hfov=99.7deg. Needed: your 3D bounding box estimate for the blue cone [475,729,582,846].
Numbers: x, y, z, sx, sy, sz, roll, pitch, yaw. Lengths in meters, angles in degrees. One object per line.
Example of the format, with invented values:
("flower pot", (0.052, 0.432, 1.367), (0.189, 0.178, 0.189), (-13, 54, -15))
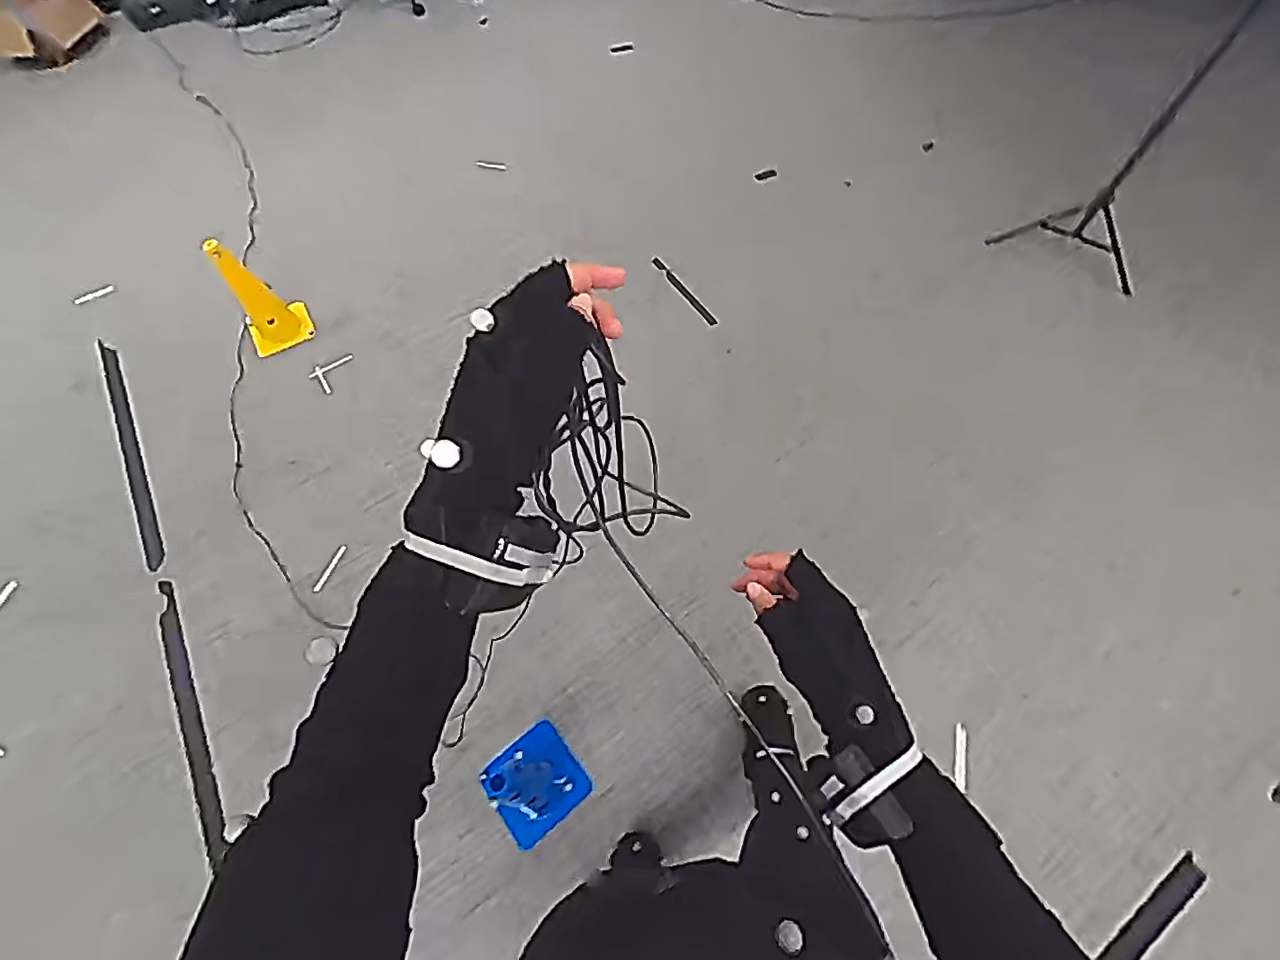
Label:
("blue cone", (-0.251, 0.616, 1.086), (0.192, 0.380, 0.193), (-36, 66, -16))
